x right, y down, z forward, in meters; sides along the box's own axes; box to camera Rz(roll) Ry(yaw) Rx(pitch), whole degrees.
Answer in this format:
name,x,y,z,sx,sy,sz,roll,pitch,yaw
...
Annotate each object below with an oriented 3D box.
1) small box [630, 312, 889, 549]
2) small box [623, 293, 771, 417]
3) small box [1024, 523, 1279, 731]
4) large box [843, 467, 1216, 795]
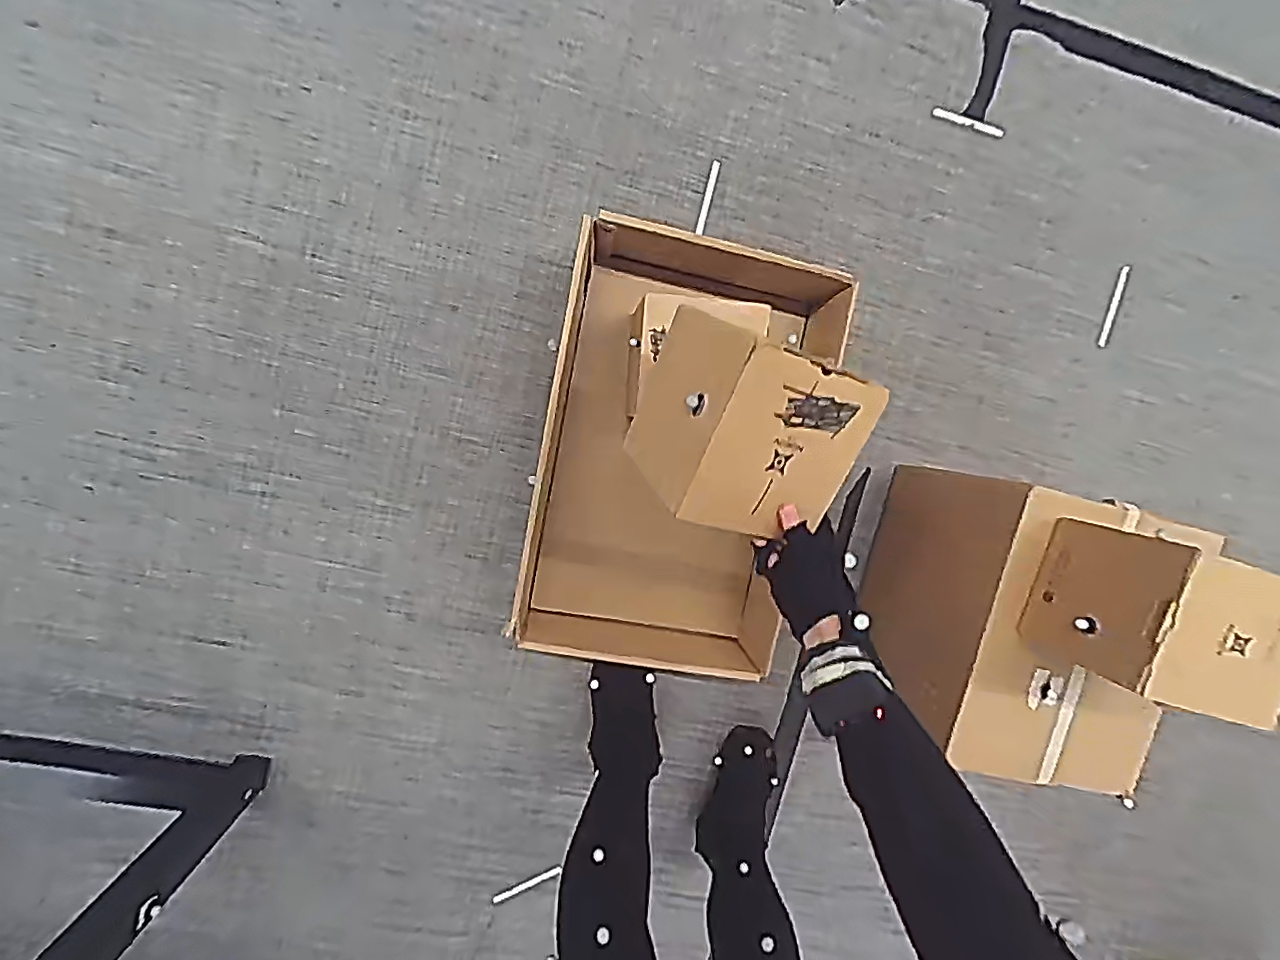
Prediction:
name,x,y,z,sx,sy,sz,roll,pitch,yaw
small box,0.107,-0.056,0.562,0.168,0.176,0.179,14,111,-26
small box,0.075,-0.170,0.807,0.179,0.176,0.168,4,97,-7
small box,0.611,0.158,0.639,0.179,0.176,0.168,16,96,-8
large box,0.589,0.214,0.890,0.320,0.320,0.408,13,96,-7
